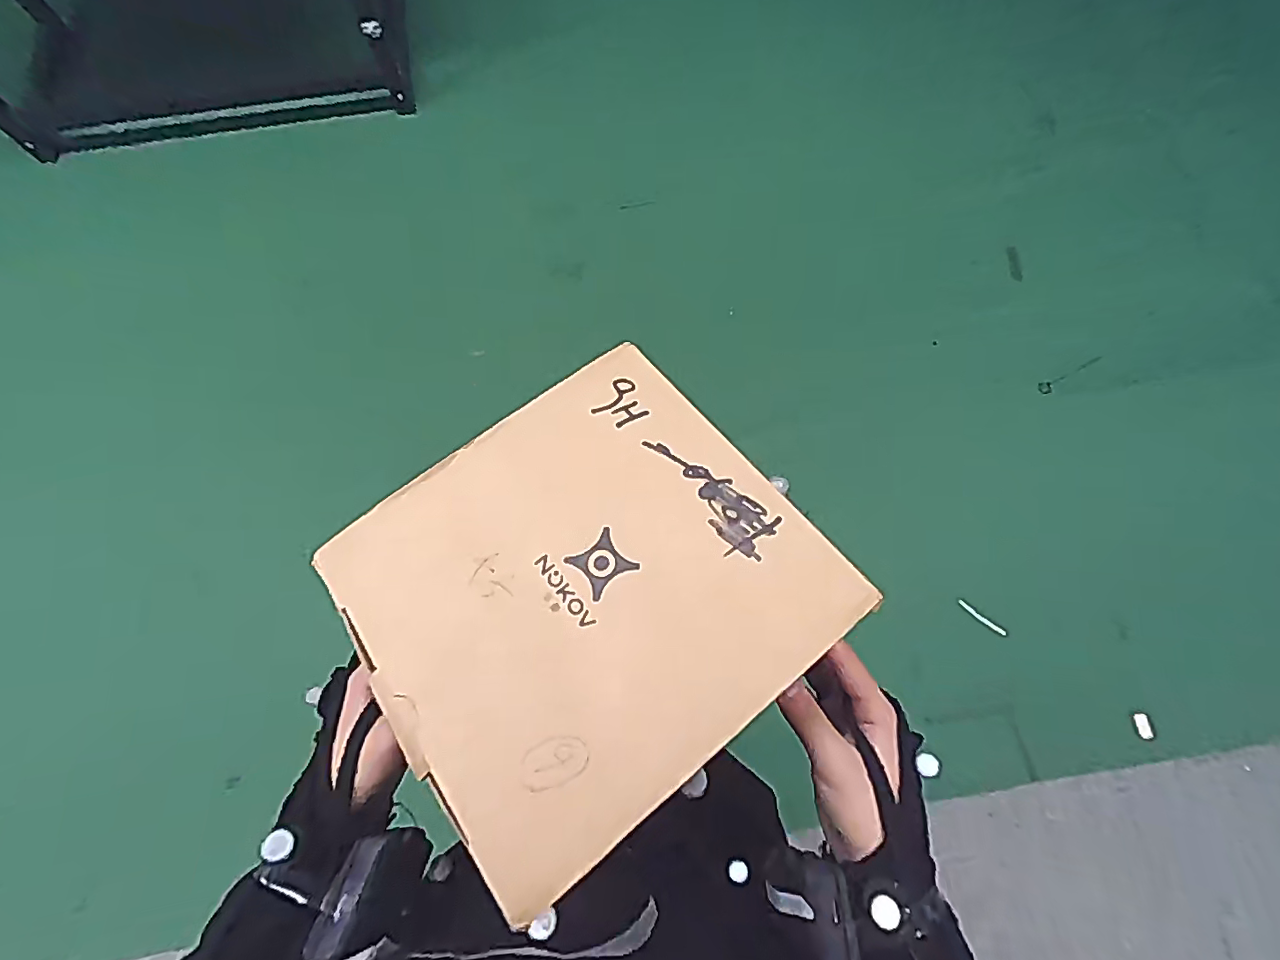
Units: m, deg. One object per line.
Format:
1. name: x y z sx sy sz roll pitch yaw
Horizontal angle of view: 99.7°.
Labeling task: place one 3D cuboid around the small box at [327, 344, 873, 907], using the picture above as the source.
1. small box: -0.016 0.070 0.297 0.179 0.176 0.168 -36 69 -12
